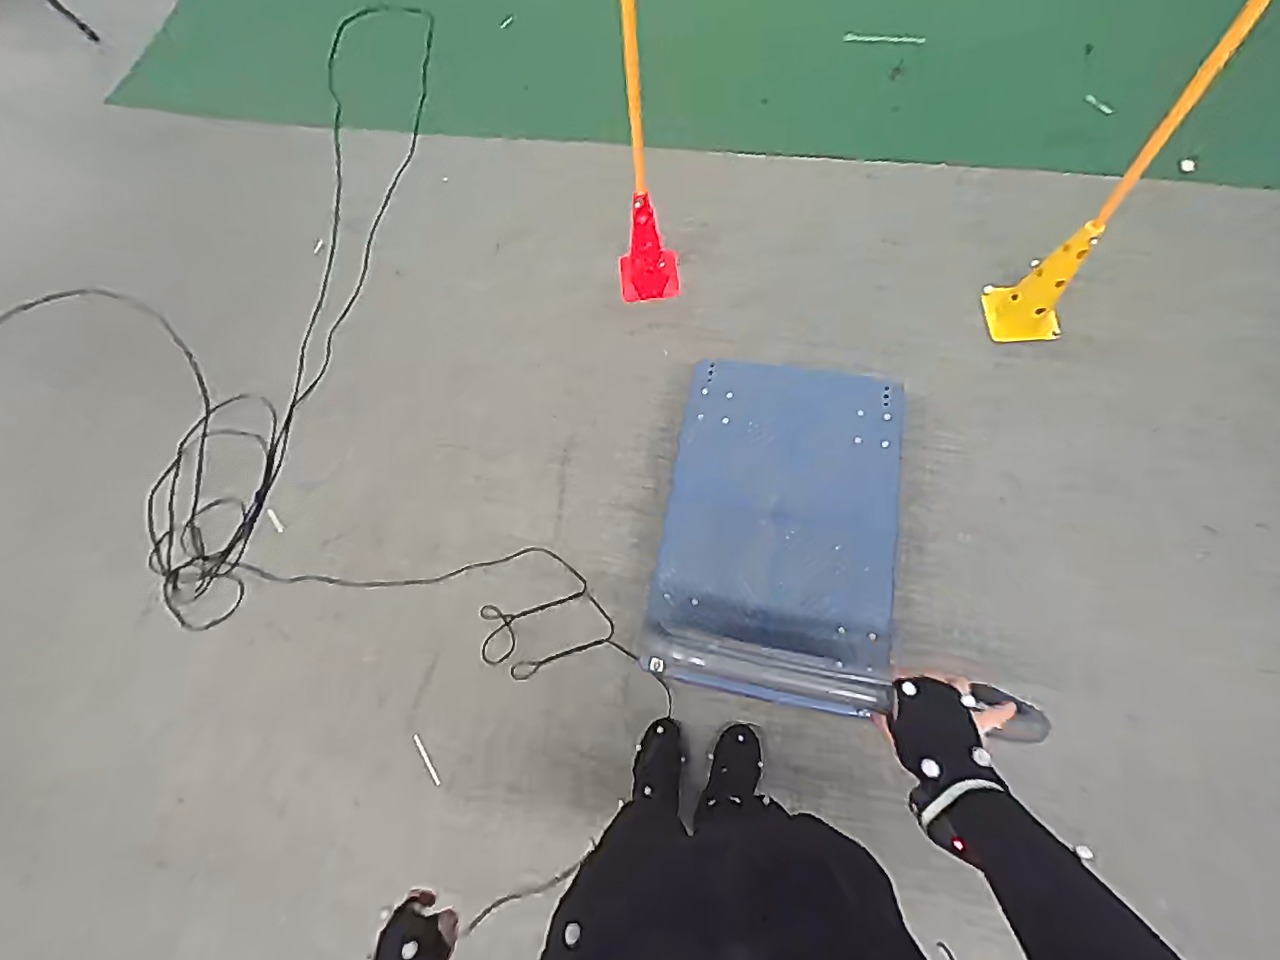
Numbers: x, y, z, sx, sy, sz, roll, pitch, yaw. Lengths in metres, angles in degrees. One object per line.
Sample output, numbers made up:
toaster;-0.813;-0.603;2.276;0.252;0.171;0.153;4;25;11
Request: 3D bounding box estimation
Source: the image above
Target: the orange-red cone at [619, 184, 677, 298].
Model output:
orange-red cone;0.007;-0.772;1.706;0.199;0.360;0.198;-6;70;5
